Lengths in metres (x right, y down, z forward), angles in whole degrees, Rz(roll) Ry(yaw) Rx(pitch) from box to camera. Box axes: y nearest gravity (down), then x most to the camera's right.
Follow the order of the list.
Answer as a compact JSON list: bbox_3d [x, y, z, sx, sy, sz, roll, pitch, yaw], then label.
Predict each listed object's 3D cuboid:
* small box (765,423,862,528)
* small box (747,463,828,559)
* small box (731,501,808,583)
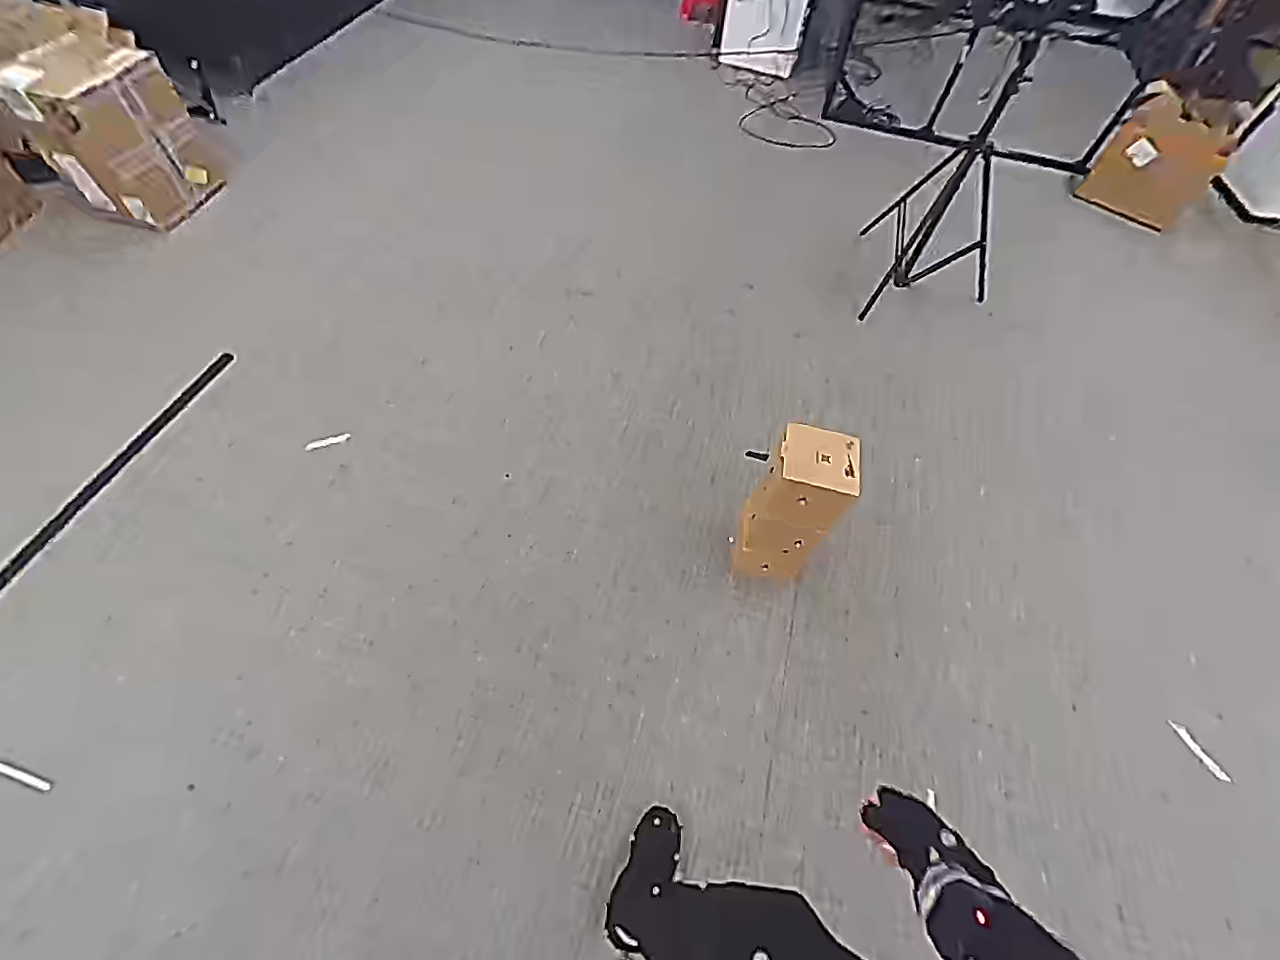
[{"bbox_3d":[0.404,-0.005,1.279,0.179,0.176,0.168,14,58,4],"label":"small box"},{"bbox_3d":[0.385,0.086,1.414,0.168,0.176,0.179,13,57,2],"label":"small box"},{"bbox_3d":[0.367,0.181,1.544,0.179,0.176,0.168,9,58,2],"label":"small box"}]
